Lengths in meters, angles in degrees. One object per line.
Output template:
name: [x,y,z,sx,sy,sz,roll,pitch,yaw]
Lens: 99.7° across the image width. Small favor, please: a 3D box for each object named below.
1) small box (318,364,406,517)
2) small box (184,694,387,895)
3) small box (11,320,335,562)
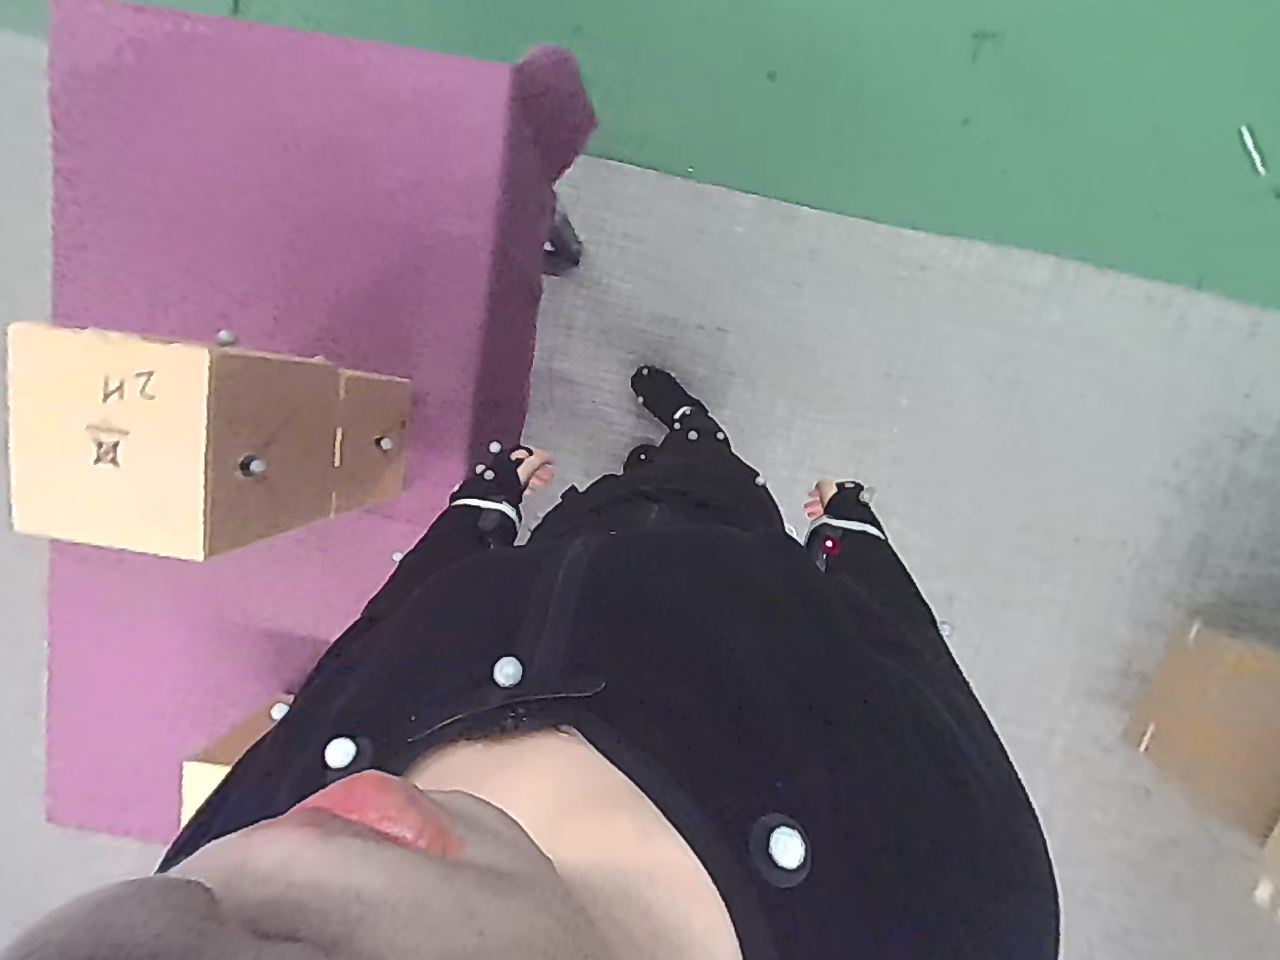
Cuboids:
small box: [-0.416,-0.062,0.678,0.179,0.176,0.168,9,98,0]
small box: [-0.475,0.420,0.748,0.179,0.176,0.168,8,97,1]
small box: [-0.419,-0.041,0.514,0.168,0.176,0.179,9,98,0]
